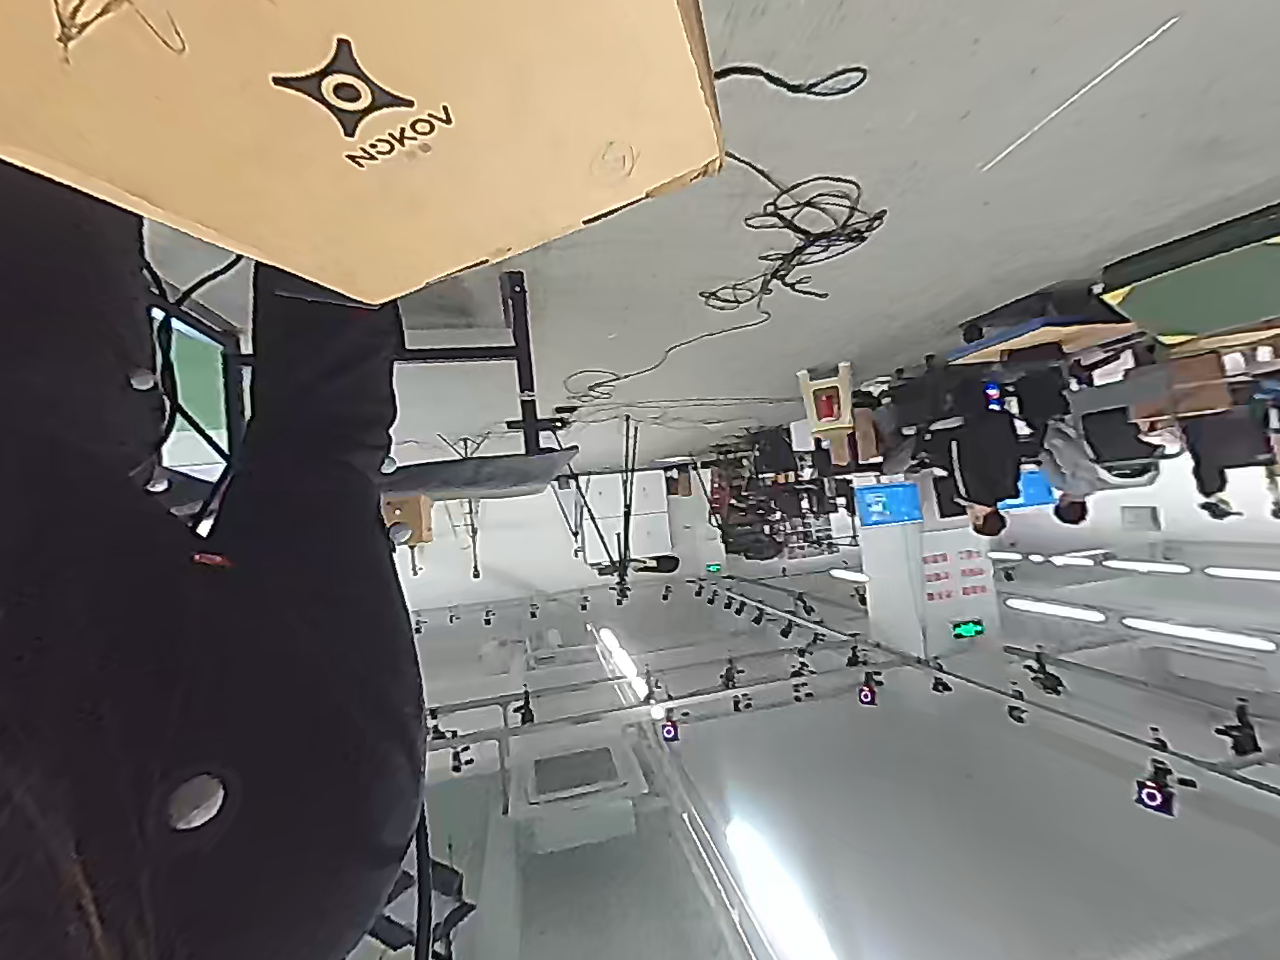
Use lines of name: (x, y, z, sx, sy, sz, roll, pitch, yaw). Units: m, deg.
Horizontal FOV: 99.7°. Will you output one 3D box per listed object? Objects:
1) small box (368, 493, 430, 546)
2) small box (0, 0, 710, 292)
small box: (-0.843, 0.137, 1.902, 0.168, 0.176, 0.179, -6, 177, -12)
small box: (-0.090, -0.183, 0.149, 0.168, 0.176, 0.179, -14, 174, 18)
